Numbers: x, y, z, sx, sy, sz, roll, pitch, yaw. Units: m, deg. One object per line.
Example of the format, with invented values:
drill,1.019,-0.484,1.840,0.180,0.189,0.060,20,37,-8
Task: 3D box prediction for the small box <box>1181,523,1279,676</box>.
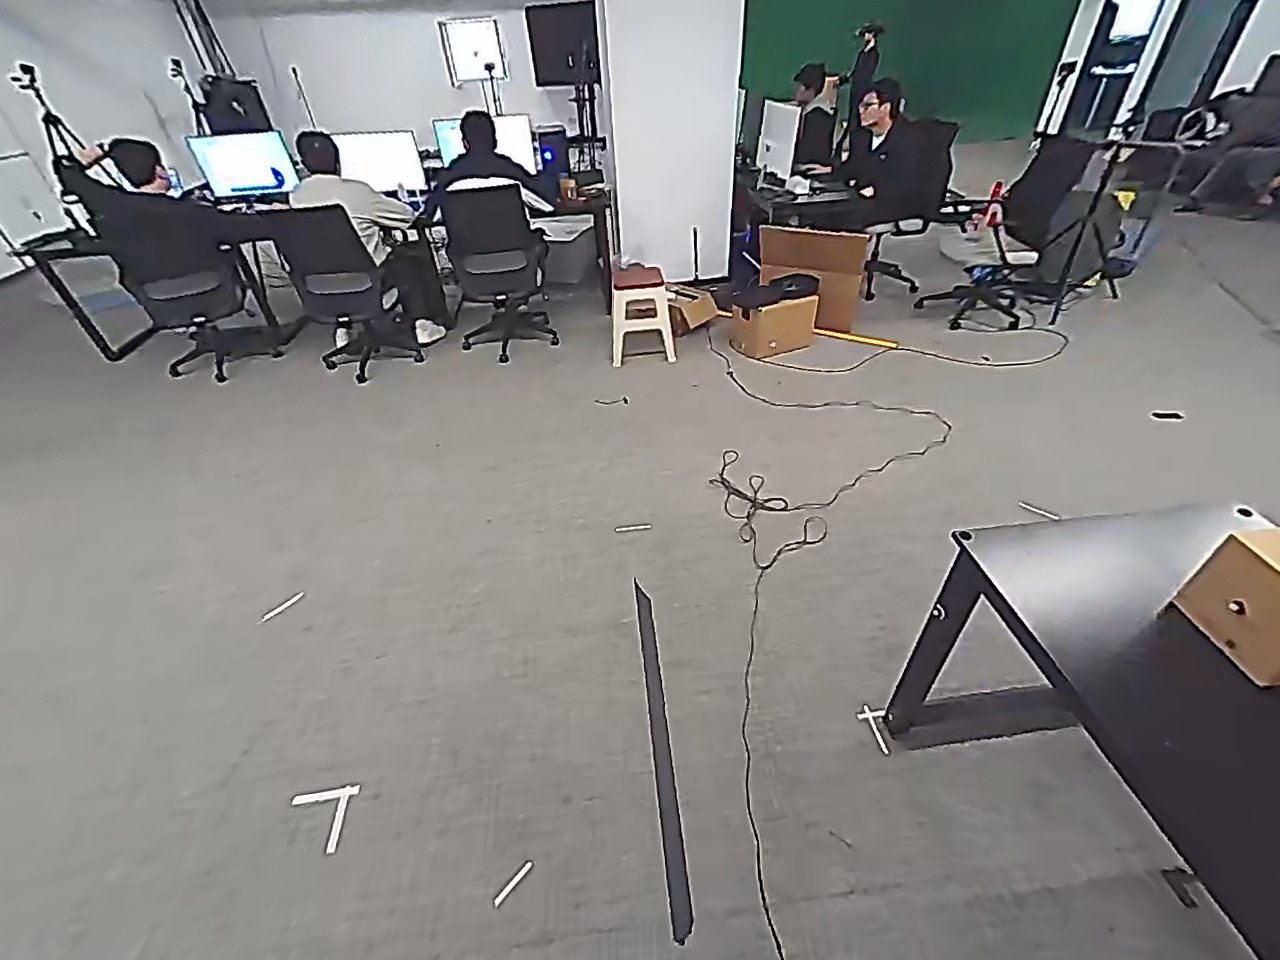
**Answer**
small box,0.996,0.181,0.823,0.179,0.176,0.168,-4,39,0
